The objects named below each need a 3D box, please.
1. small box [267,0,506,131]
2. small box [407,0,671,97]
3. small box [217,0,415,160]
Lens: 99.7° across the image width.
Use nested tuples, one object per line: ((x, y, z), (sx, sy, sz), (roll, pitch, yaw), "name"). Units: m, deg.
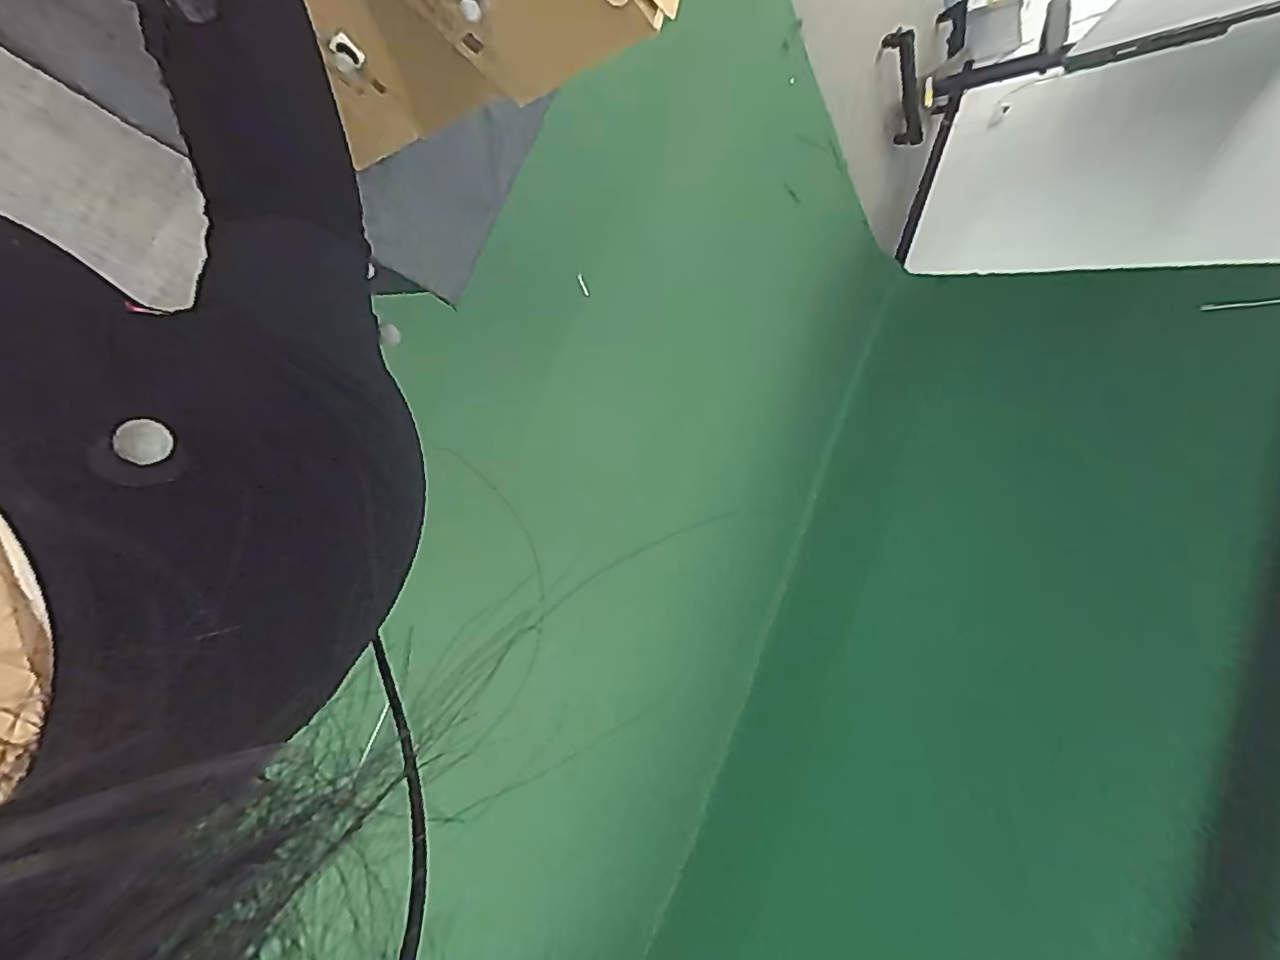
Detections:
((-0.196, -0.454, 0.472), (0.168, 0.176, 0.179), (24, 82, -48), "small box")
((-0.074, -0.416, 0.365), (0.168, 0.176, 0.179), (18, 85, -47), "small box")
((-0.314, -0.485, 0.578), (0.168, 0.176, 0.179), (30, 76, -48), "small box")
